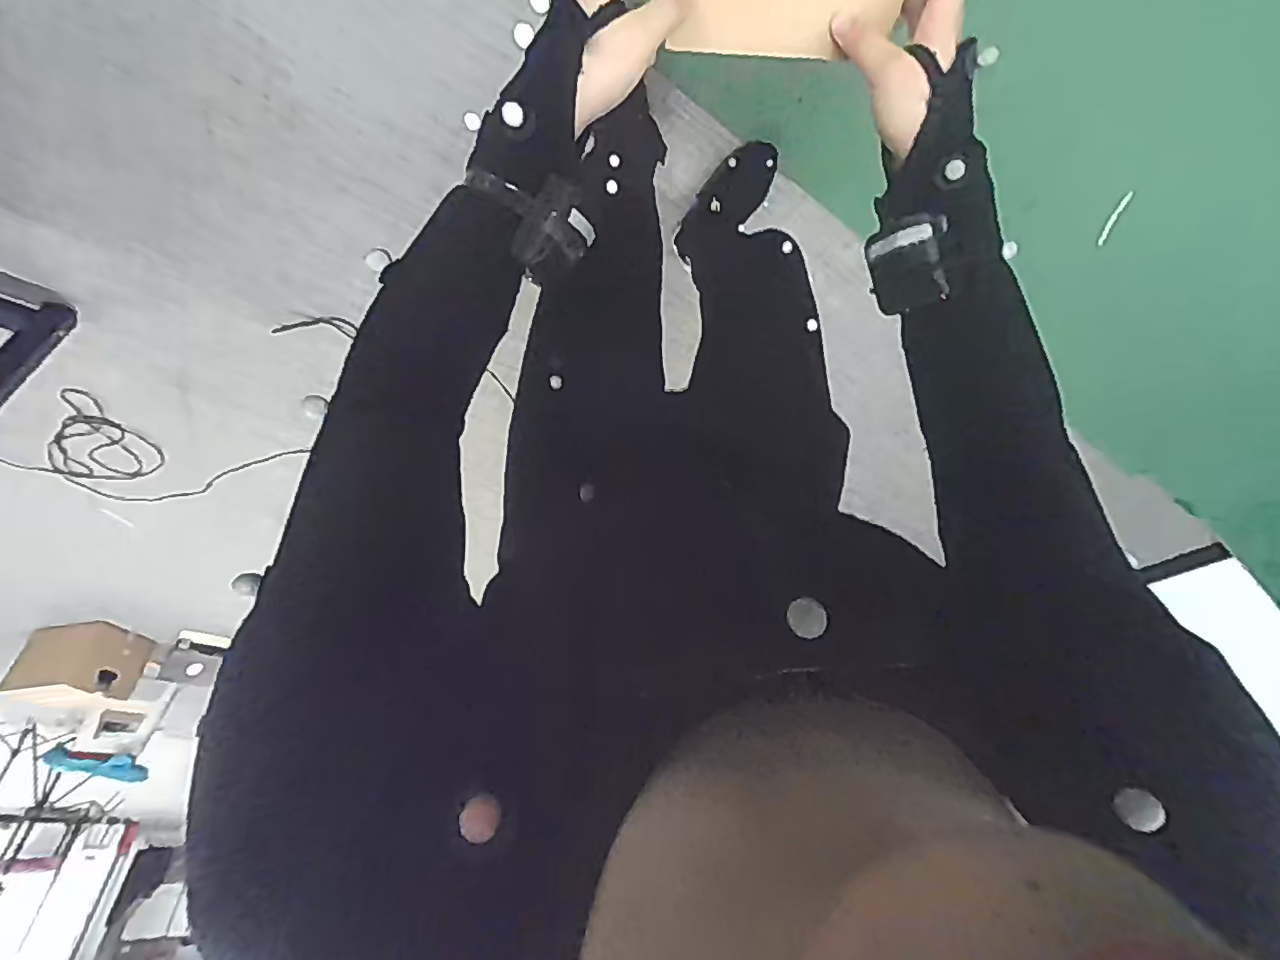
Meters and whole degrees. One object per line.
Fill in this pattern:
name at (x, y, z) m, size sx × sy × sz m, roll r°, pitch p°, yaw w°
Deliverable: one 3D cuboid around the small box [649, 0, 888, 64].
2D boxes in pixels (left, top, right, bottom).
small box at (0.092, -0.430, 0.371) m, size 0.168 × 0.176 × 0.179 m, roll -2°, pitch 150°, yaw -4°
